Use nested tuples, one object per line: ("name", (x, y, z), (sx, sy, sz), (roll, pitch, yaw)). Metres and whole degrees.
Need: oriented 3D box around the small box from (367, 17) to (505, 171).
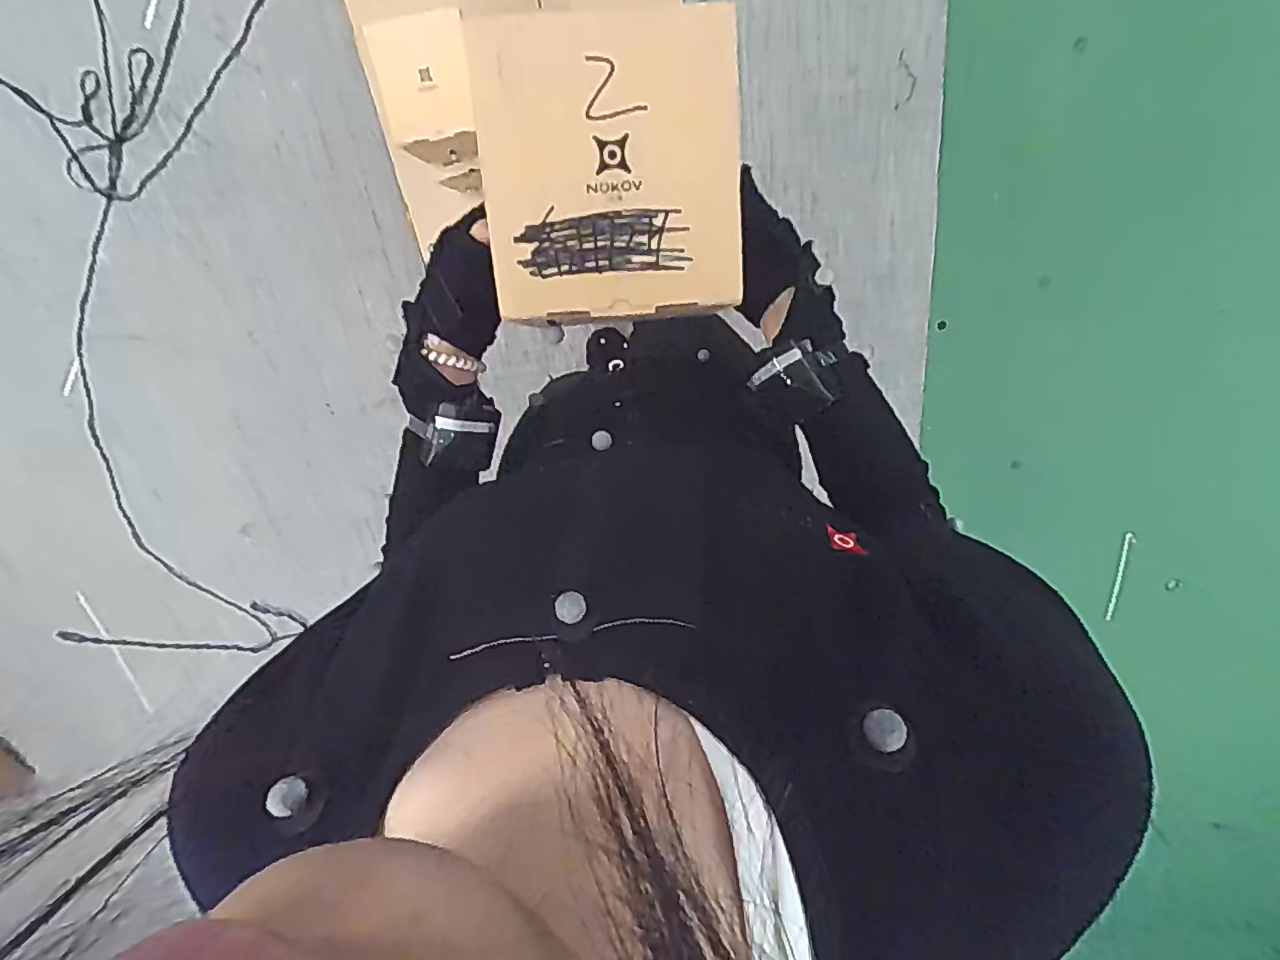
("small box", (-0.358, -0.689, 0.985), (0.168, 0.176, 0.179), (-9, 111, 2))
